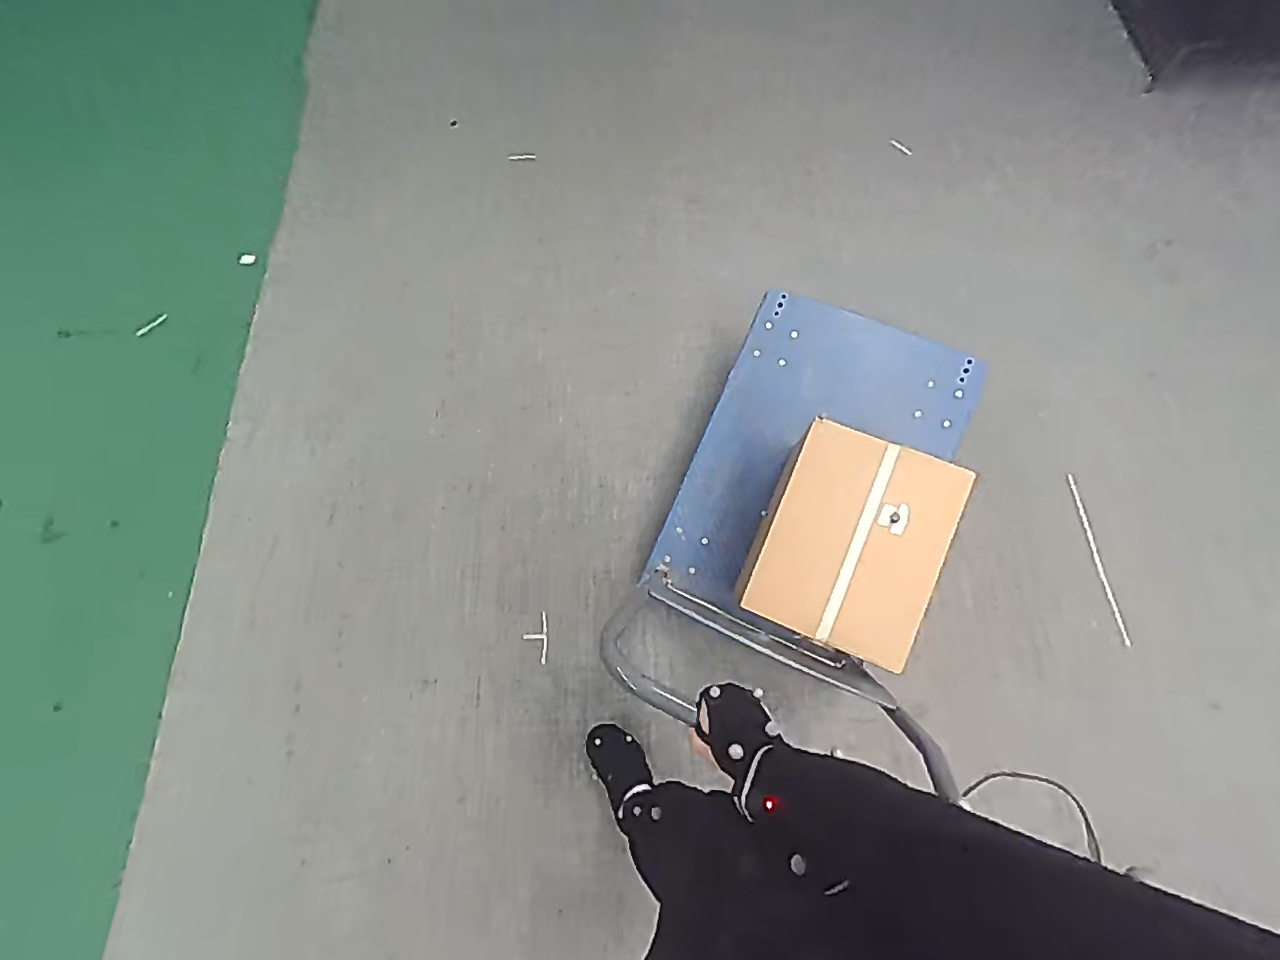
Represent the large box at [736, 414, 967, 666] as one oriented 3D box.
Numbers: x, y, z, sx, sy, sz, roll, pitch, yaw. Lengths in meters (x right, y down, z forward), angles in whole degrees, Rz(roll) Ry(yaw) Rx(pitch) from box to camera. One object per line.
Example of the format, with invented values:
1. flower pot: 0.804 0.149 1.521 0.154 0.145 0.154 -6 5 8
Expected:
1. large box: 0.421 0.127 1.170 0.320 0.320 0.408 23 86 9
